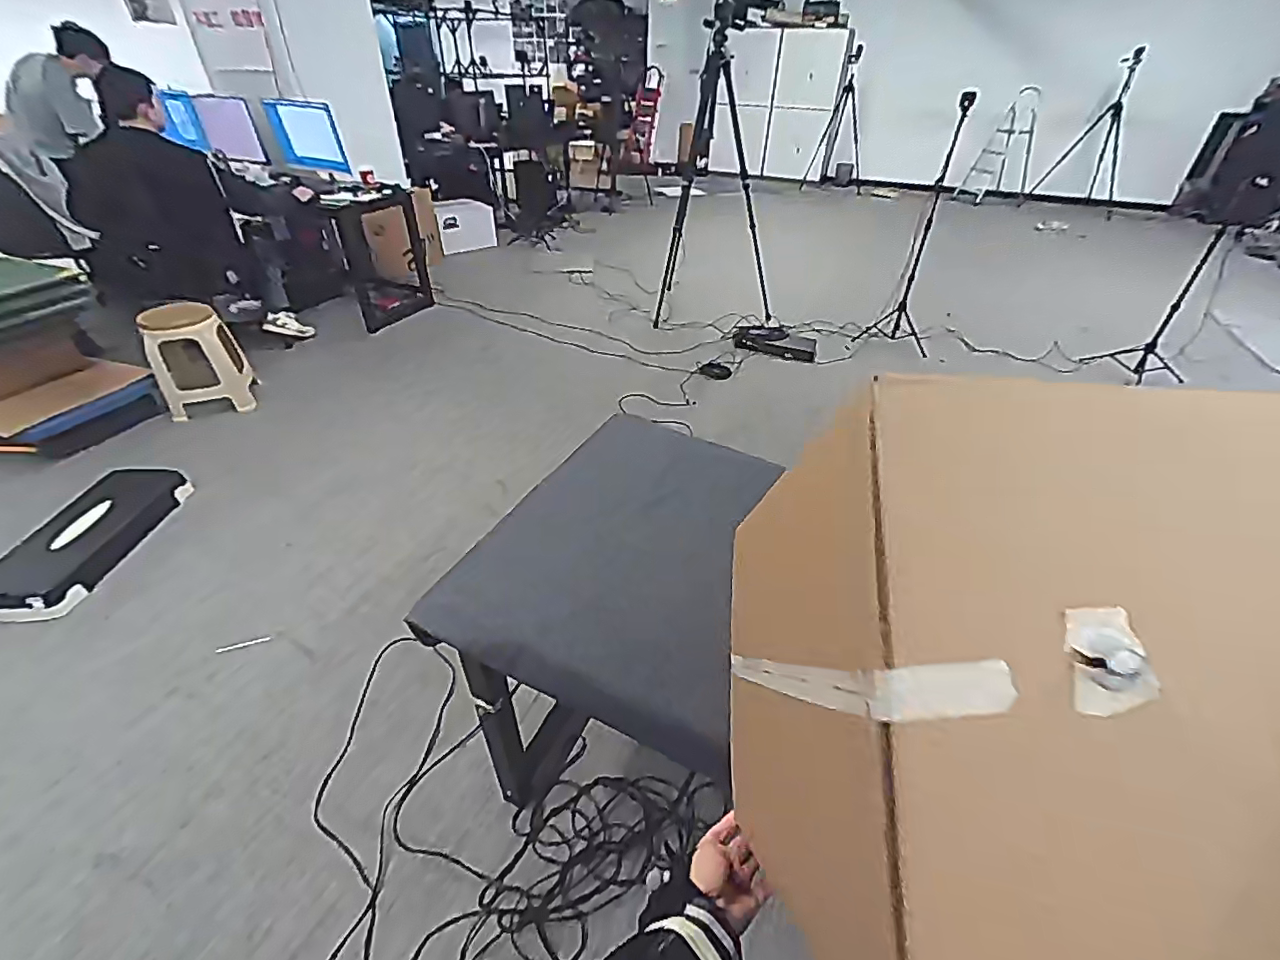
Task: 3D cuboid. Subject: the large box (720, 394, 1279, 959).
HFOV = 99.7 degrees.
[{"bbox_3d":[0.253,0.151,0.429,0.320,0.408,0.320,3,74,-1],"label":"large box"}]
